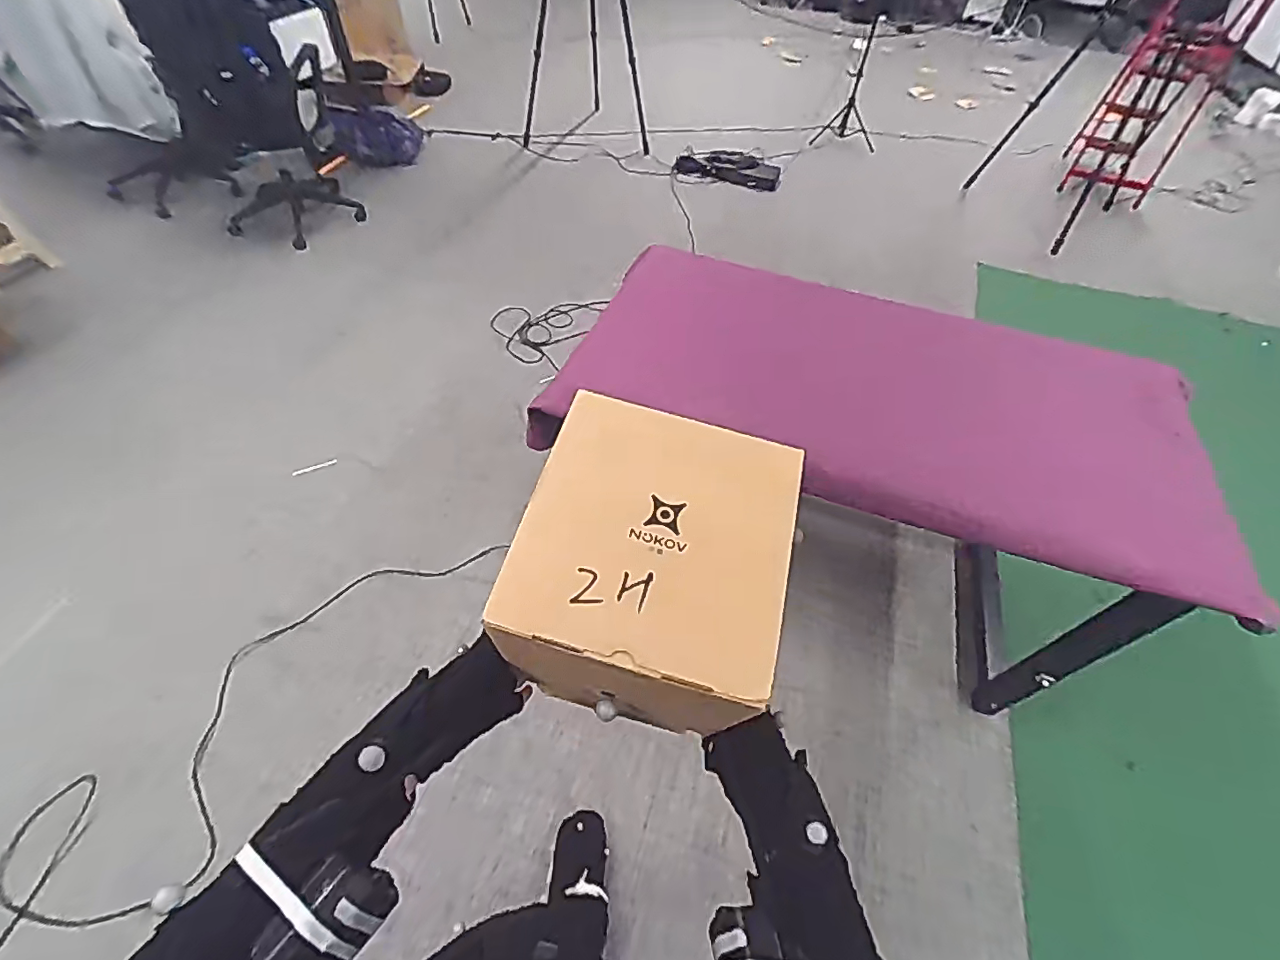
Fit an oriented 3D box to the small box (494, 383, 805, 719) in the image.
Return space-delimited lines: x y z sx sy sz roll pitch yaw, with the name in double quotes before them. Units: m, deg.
"small box" 0.008 0.062 0.409 0.168 0.176 0.179 16 61 3
